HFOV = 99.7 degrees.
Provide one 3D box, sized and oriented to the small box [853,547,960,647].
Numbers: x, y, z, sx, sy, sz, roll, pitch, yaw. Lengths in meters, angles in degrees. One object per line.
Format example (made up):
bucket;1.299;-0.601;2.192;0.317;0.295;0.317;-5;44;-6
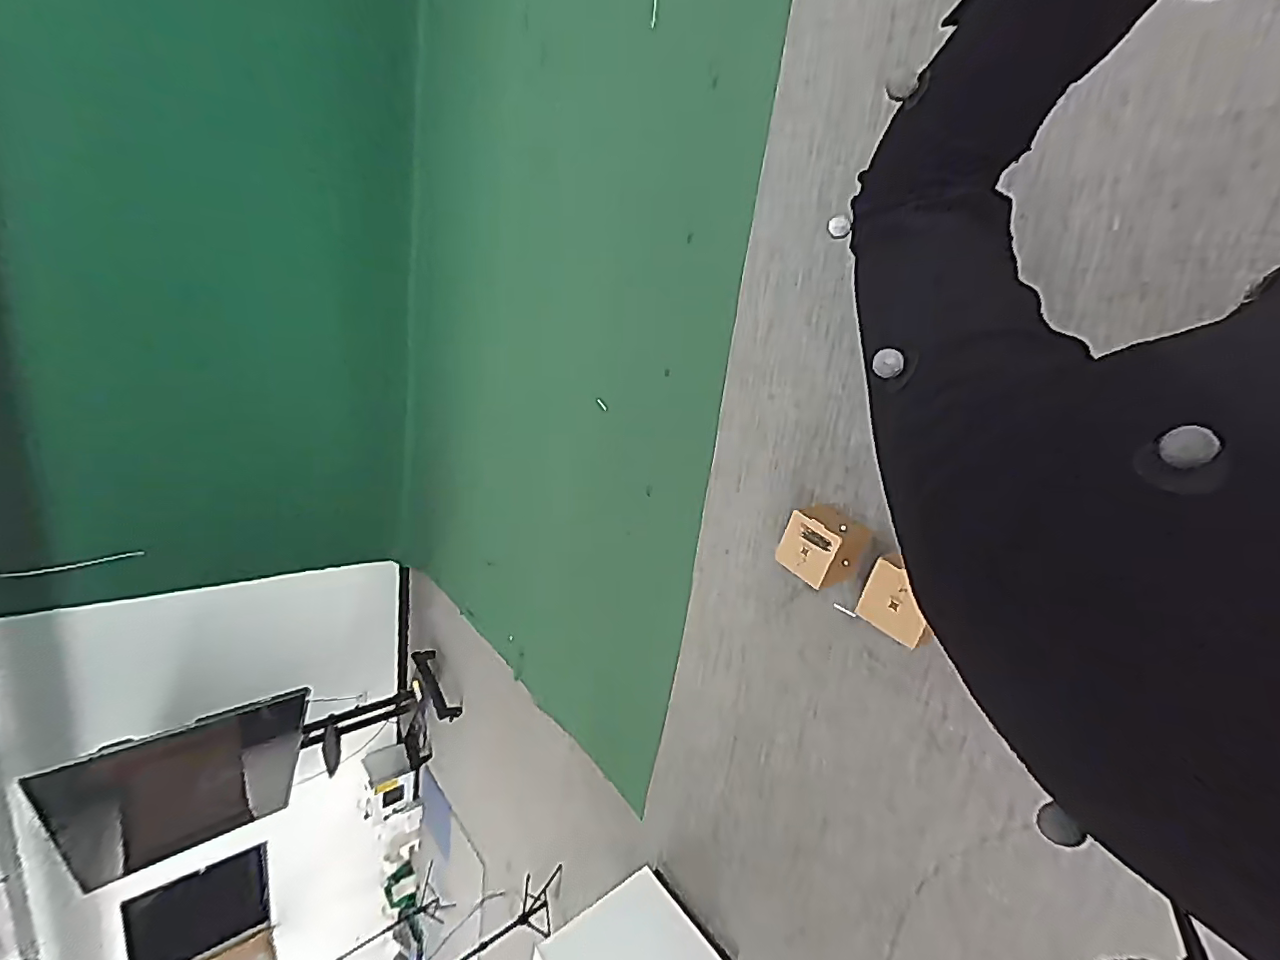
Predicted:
small box;0.691;0.294;1.396;0.168;0.176;0.179;33;116;41
